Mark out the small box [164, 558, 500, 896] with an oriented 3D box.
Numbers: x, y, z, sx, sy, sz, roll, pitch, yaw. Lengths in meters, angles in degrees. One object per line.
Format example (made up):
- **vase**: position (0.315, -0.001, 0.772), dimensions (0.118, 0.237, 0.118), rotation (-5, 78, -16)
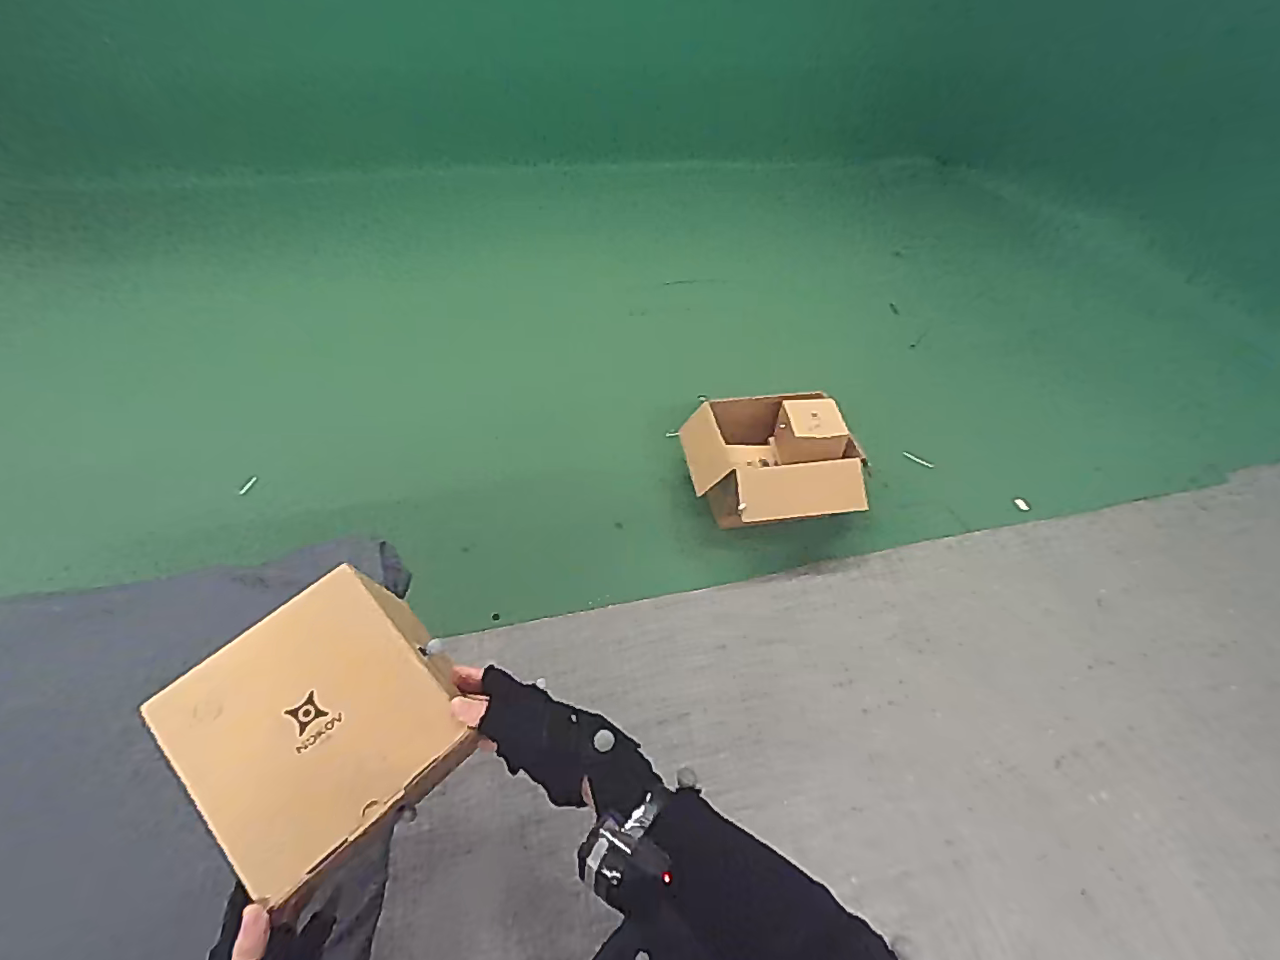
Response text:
- **small box**: position (-0.244, 0.202, 0.476), dimensions (0.168, 0.176, 0.179), rotation (-38, 78, -21)
